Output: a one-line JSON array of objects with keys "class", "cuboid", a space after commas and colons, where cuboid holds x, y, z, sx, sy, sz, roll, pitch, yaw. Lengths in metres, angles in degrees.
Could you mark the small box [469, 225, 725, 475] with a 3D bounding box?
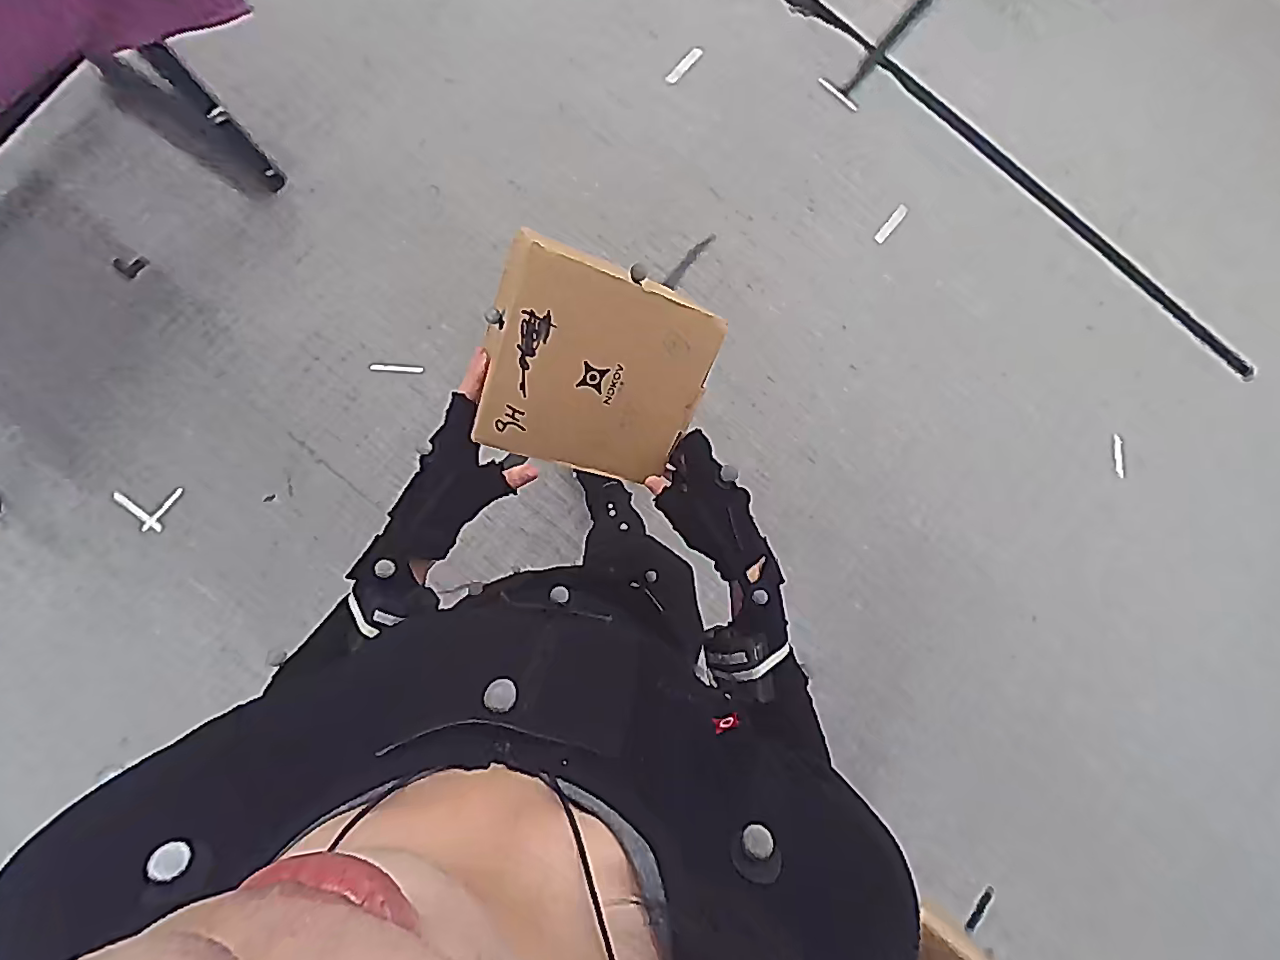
[{"class": "small box", "cuboid": [-0.055, -0.128, 0.512, 0.179, 0.176, 0.168, 13, 113, -24]}]
